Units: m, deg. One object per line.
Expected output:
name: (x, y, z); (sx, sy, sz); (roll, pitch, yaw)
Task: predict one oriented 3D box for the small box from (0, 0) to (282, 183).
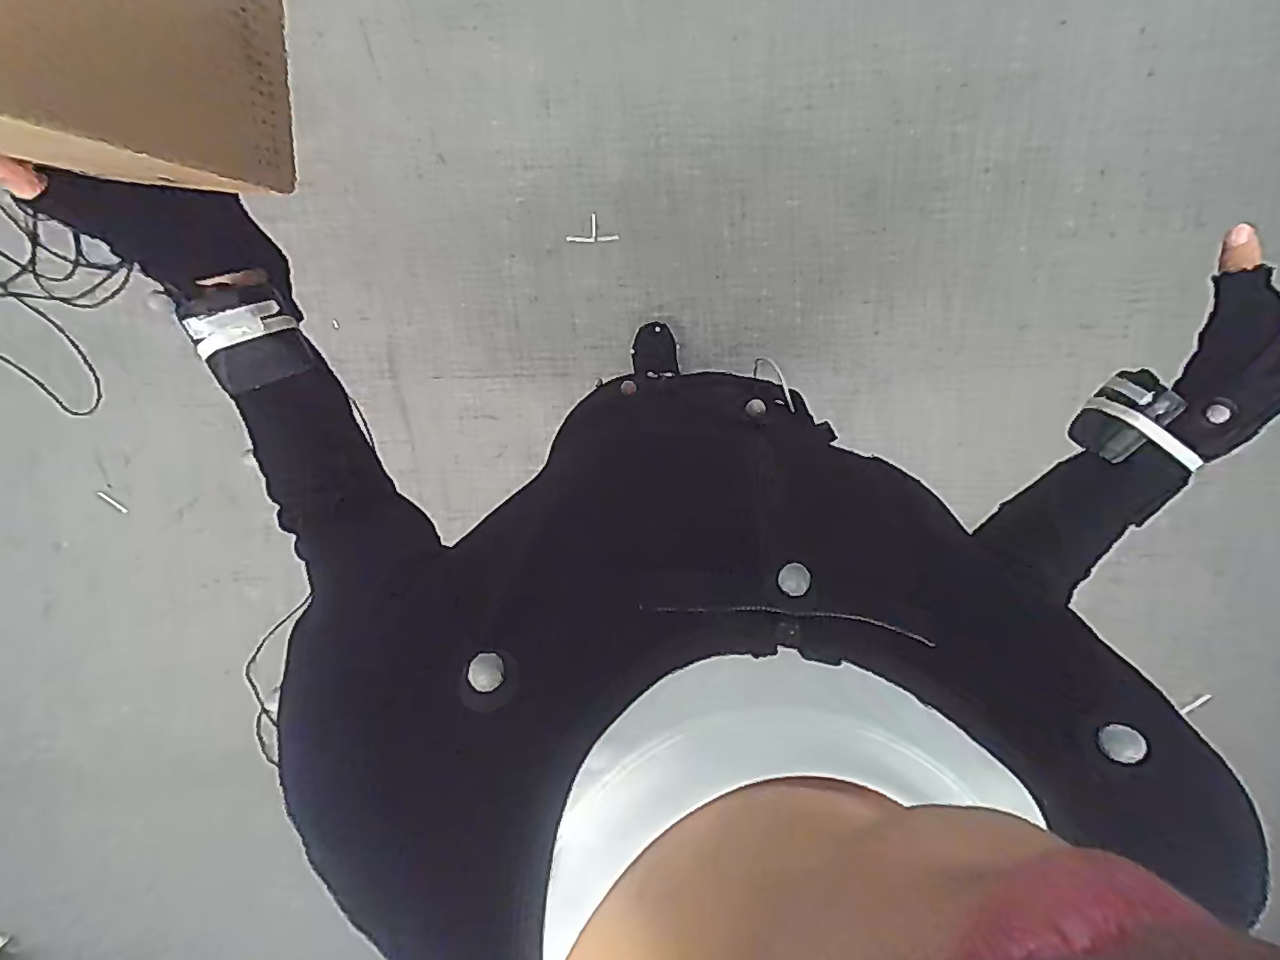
small box: (-0.270, -0.233, 0.199); (0.168, 0.176, 0.179); (9, 108, 5)
